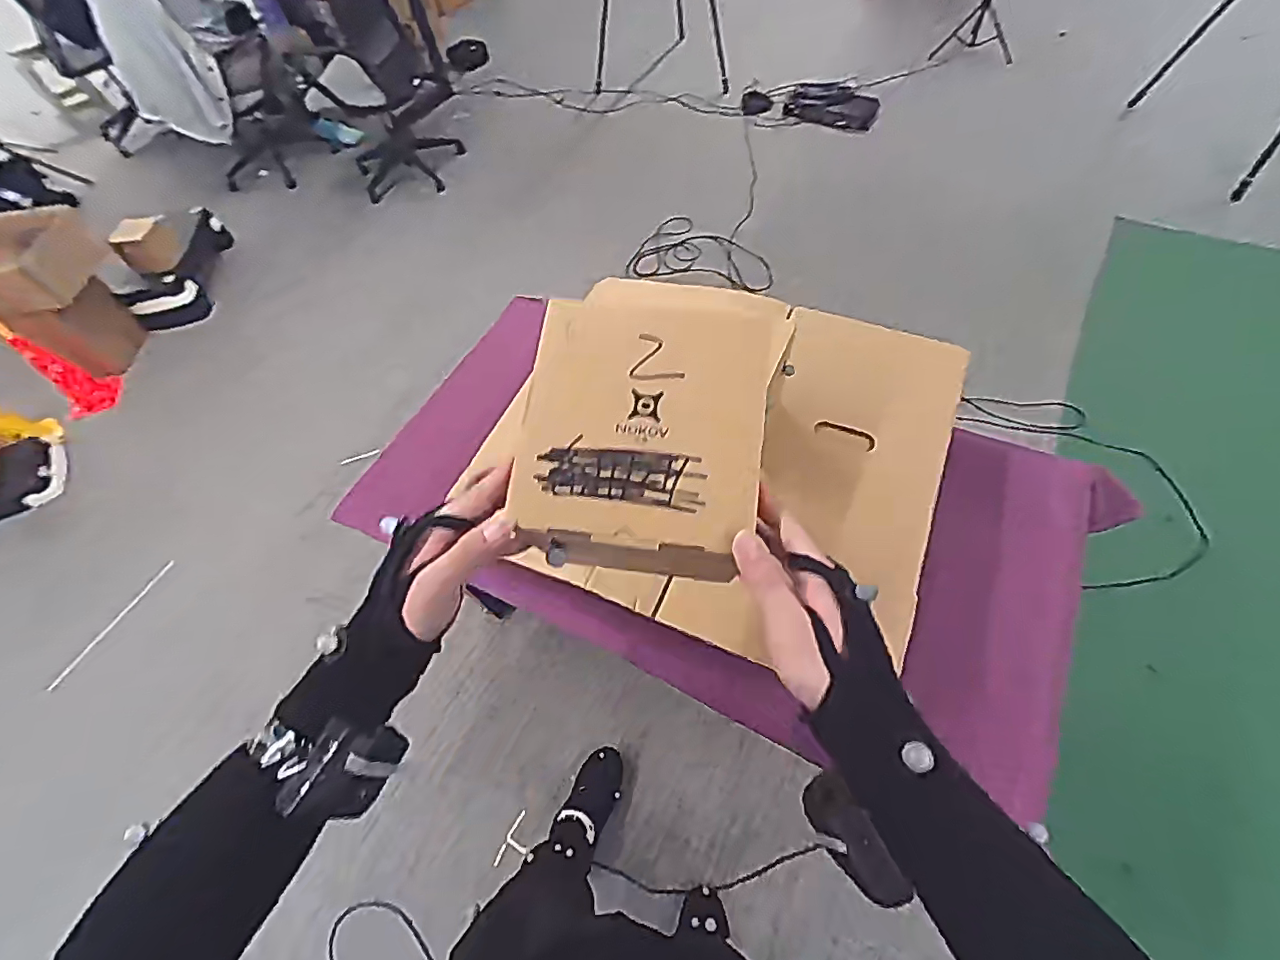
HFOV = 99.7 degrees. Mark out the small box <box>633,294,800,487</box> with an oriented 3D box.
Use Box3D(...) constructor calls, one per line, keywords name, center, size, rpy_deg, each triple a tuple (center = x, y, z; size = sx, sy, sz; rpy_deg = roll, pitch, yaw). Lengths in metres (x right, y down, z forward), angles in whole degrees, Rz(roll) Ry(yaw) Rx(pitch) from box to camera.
Box3D(name="small box", center=(0.105, -0.122, 0.758), size=(0.168, 0.176, 0.179), rpy_deg=(21, 64, 17))
